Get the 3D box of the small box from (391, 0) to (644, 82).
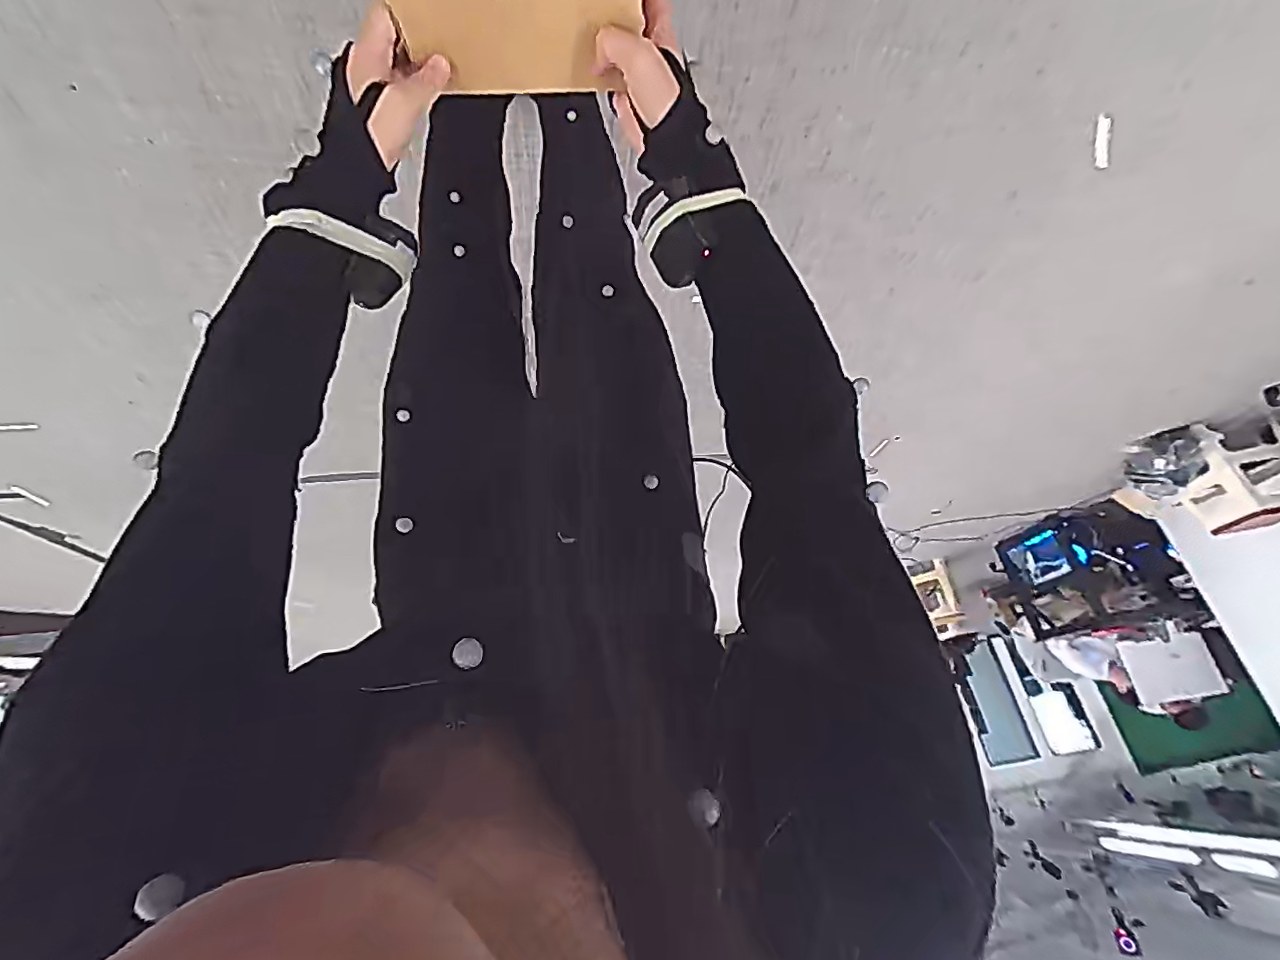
[{"bbox_3d":[-0.087,-0.417,0.373,0.179,0.176,0.168,-1,160,1],"label":"small box"}]
